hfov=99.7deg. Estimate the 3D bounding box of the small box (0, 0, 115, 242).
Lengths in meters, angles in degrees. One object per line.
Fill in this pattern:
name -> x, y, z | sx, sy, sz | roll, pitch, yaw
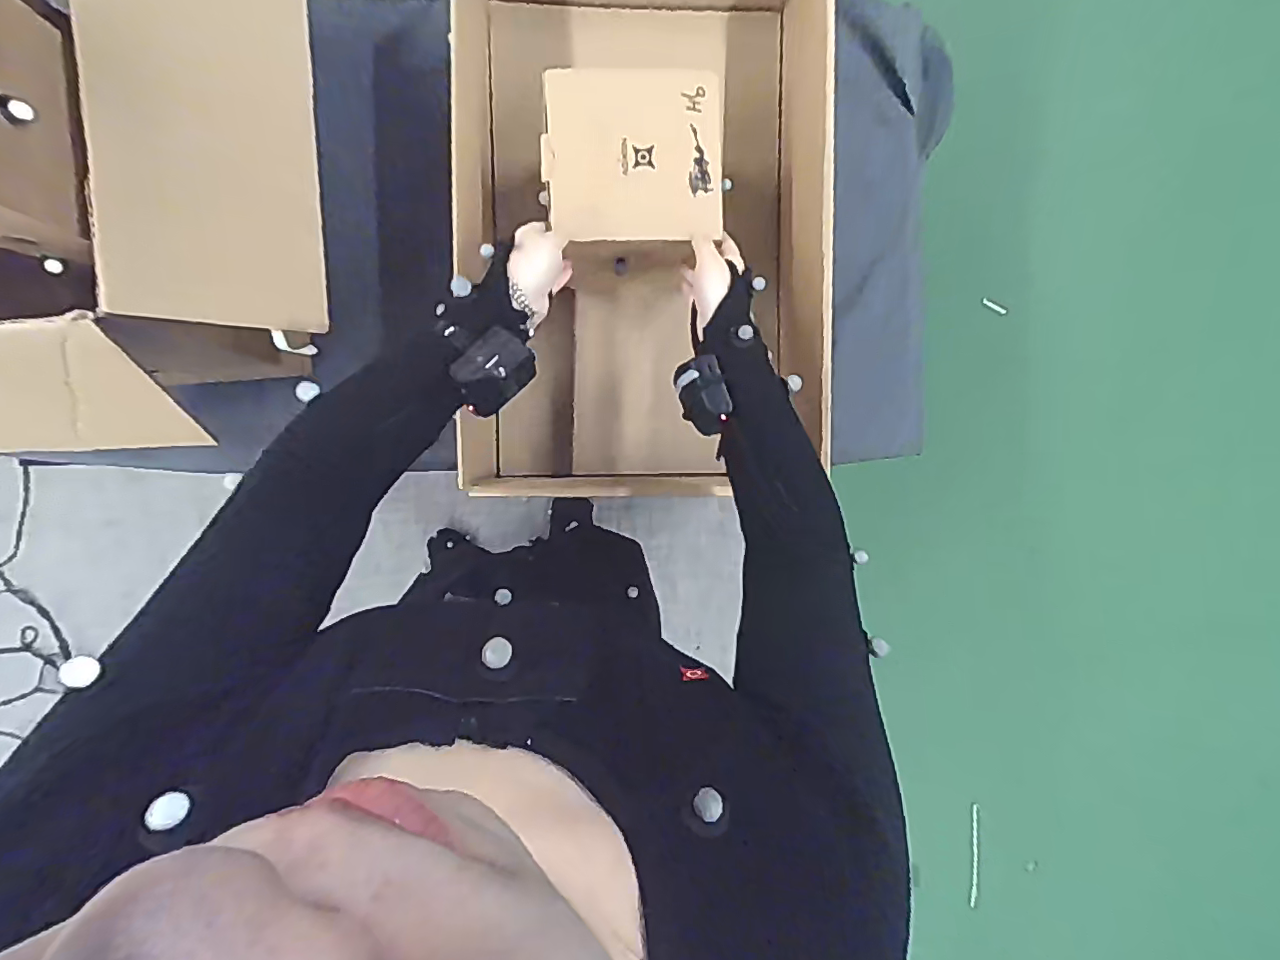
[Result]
small box -> -0.584, -0.317, 0.437 | 0.168, 0.176, 0.179 | 2, 95, -5
